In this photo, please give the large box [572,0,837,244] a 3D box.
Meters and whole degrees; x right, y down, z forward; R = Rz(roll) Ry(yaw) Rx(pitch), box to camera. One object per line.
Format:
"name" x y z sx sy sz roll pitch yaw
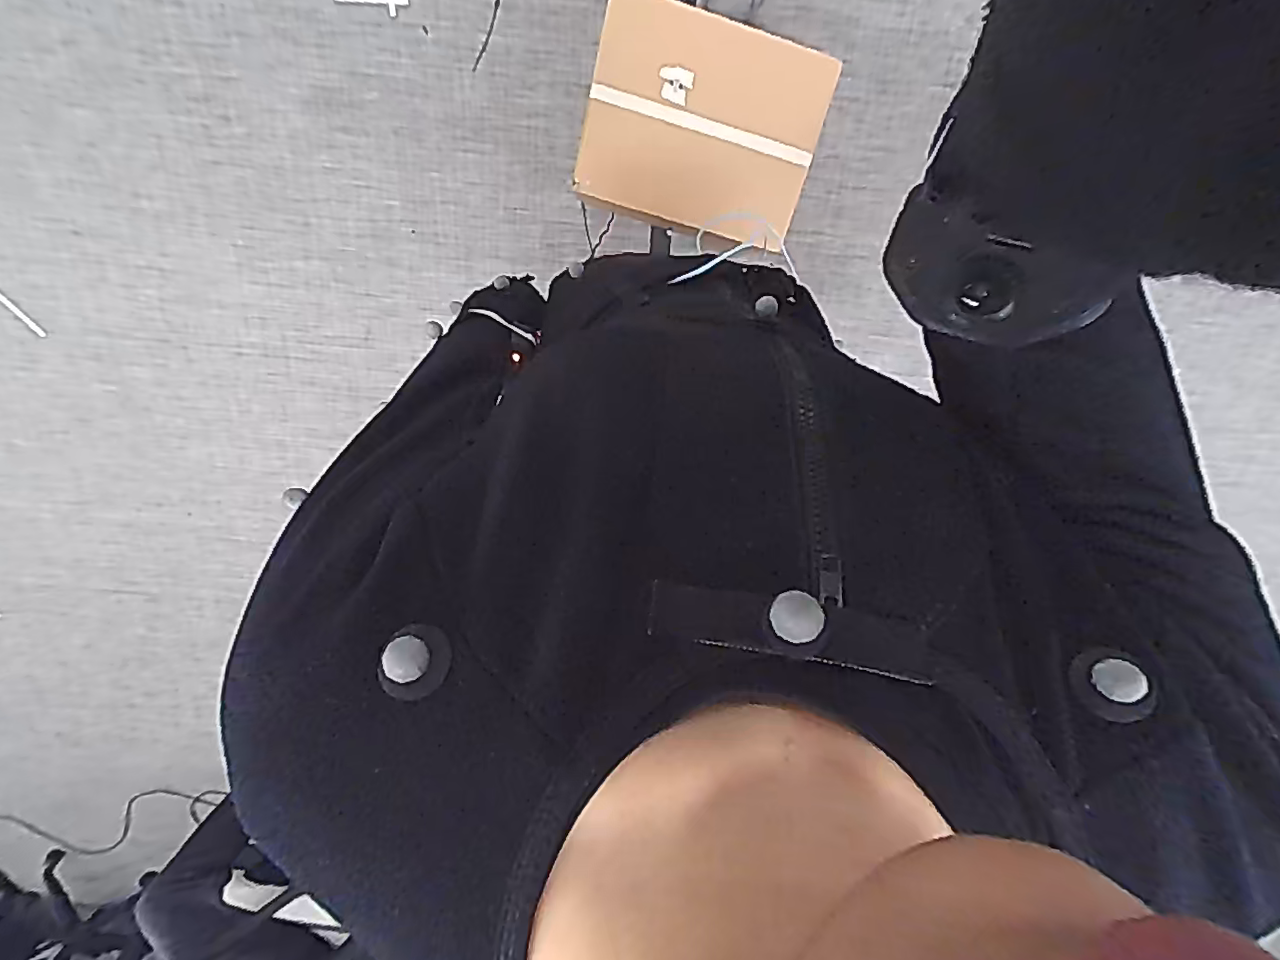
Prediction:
"large box" 0.104 -0.684 1.081 0.408 0.320 0.320 14 111 -7
